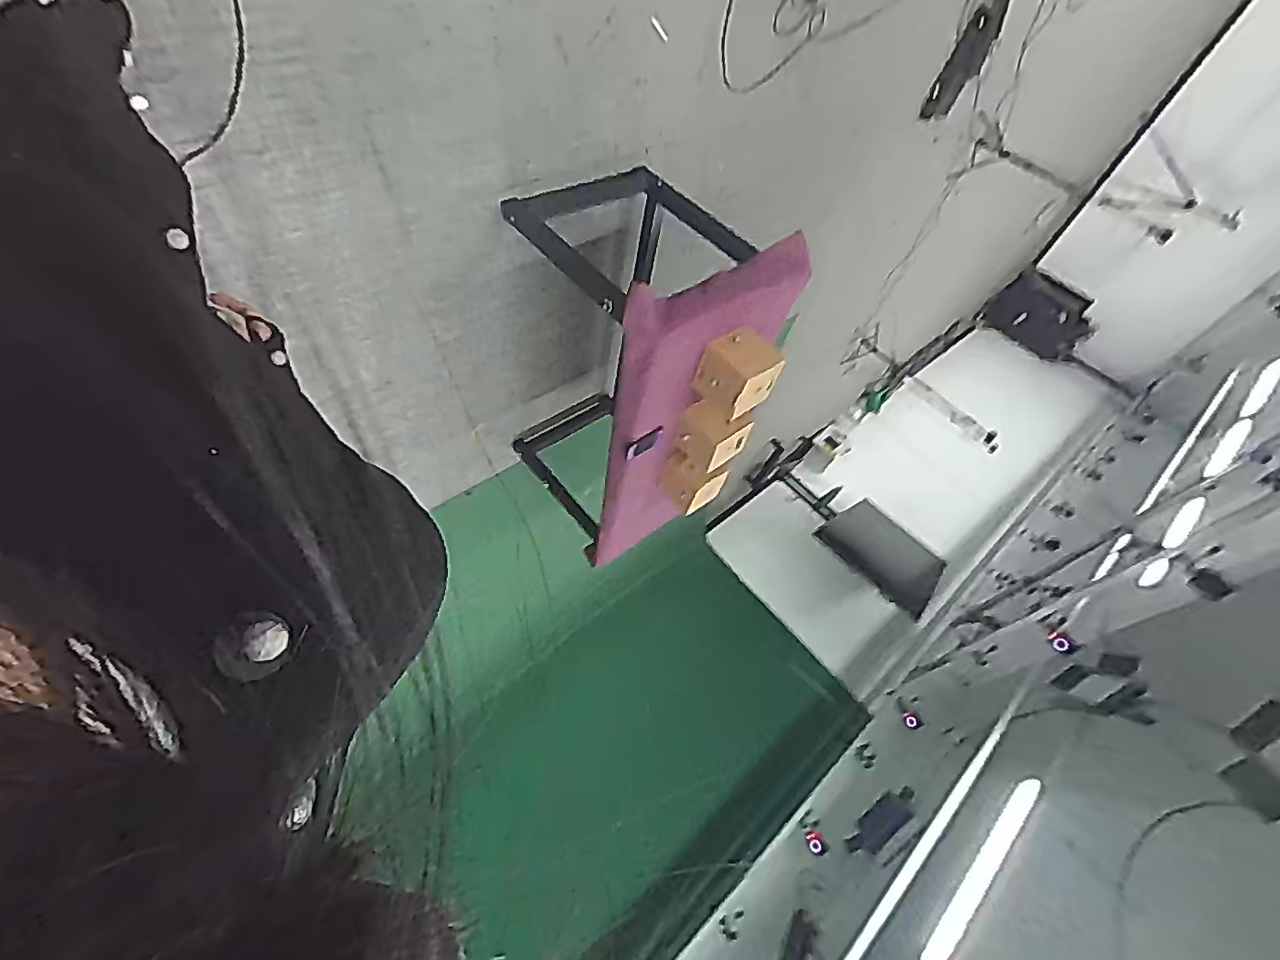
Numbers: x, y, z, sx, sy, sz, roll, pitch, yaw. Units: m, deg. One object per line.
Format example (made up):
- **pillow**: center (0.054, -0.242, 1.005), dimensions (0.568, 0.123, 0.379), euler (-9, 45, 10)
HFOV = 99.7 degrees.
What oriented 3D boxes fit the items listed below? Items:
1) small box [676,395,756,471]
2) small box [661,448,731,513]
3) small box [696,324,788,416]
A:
- **small box**: center (0.248, -0.169, 1.792), dimensions (0.179, 0.176, 0.168), euler (-33, 156, -24)
- **small box**: center (0.199, -0.015, 1.996), dimensions (0.168, 0.176, 0.179), euler (-29, 155, -32)
- **small box**: center (0.290, -0.324, 1.577), dimensions (0.179, 0.176, 0.168), euler (-30, 155, -29)
